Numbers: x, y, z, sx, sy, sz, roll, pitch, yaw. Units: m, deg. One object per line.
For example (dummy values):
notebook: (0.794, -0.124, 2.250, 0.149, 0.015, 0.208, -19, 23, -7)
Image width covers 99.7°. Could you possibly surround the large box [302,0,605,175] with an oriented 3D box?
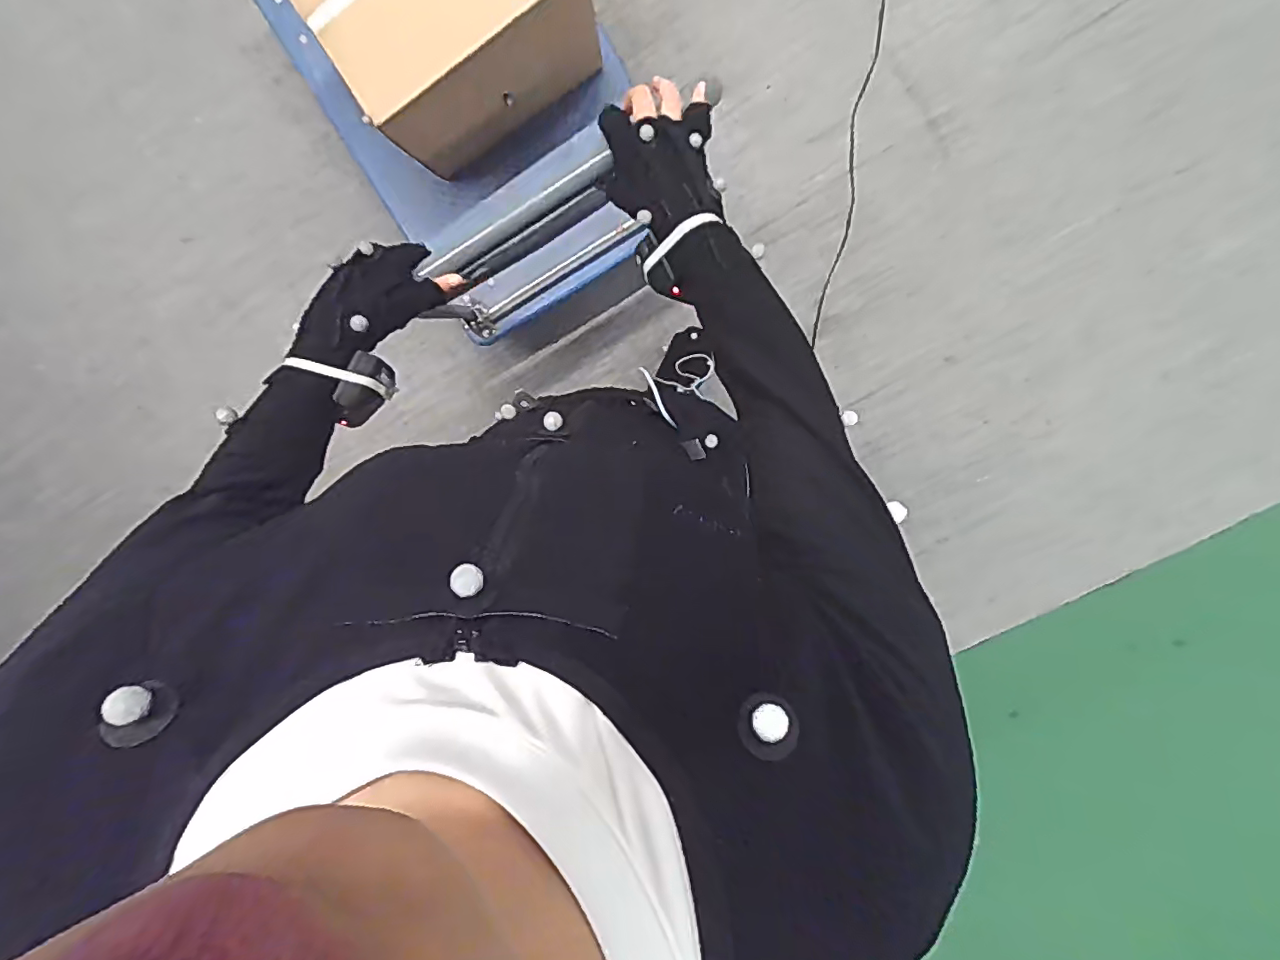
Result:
large box: (-0.318, -0.835, 0.959, 0.408, 0.320, 0.320, -31, 101, 10)
